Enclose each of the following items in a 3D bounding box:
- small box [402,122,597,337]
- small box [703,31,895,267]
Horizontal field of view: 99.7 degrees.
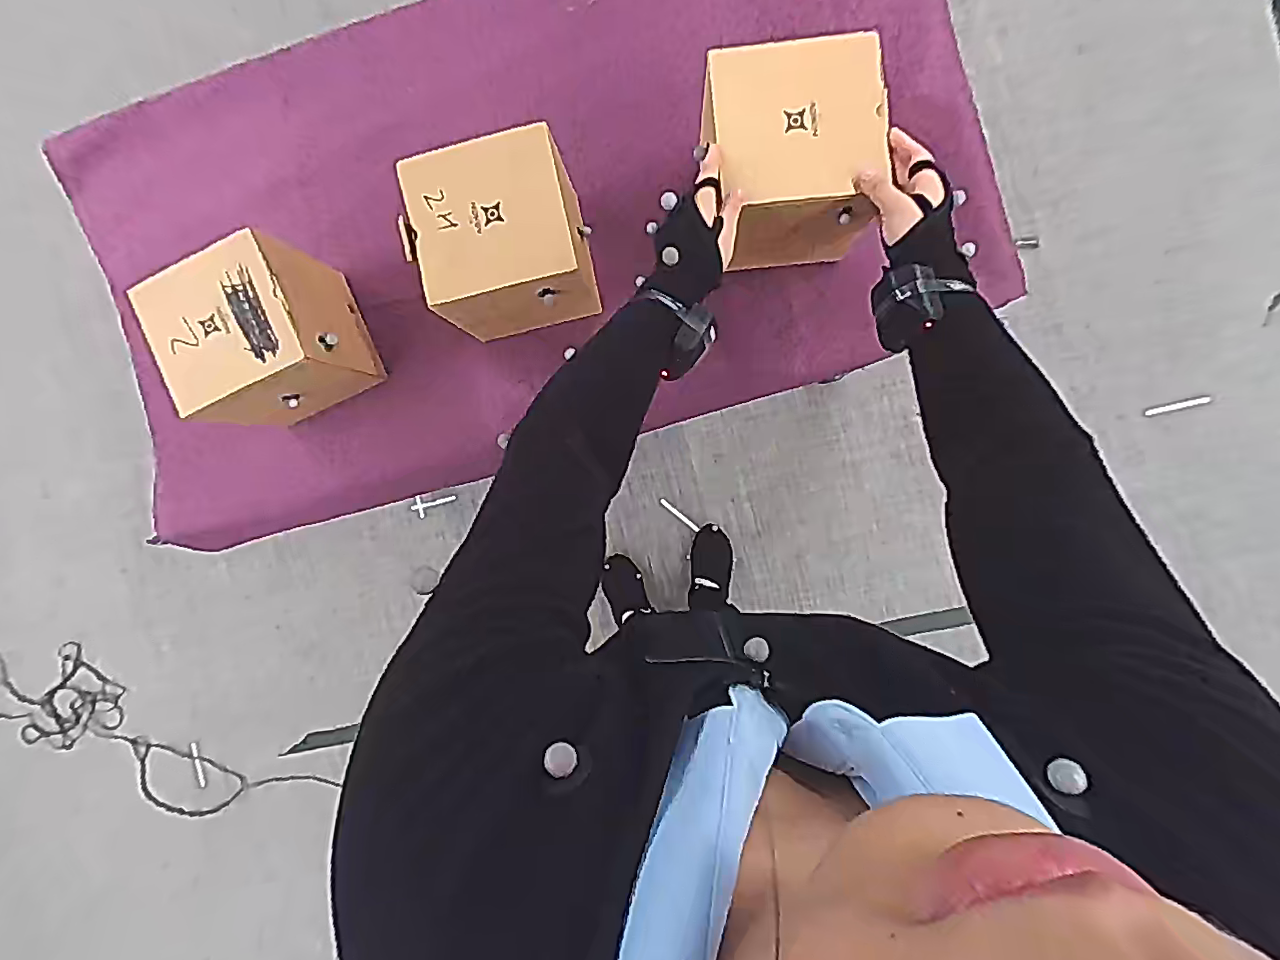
[{"bbox_3d":[-0.156,-0.290,0.666,0.179,0.176,0.168,-12,90,5],"label":"small box"},{"bbox_3d":[0.167,-0.364,0.628,0.179,0.176,0.168,-5,89,2],"label":"small box"}]
